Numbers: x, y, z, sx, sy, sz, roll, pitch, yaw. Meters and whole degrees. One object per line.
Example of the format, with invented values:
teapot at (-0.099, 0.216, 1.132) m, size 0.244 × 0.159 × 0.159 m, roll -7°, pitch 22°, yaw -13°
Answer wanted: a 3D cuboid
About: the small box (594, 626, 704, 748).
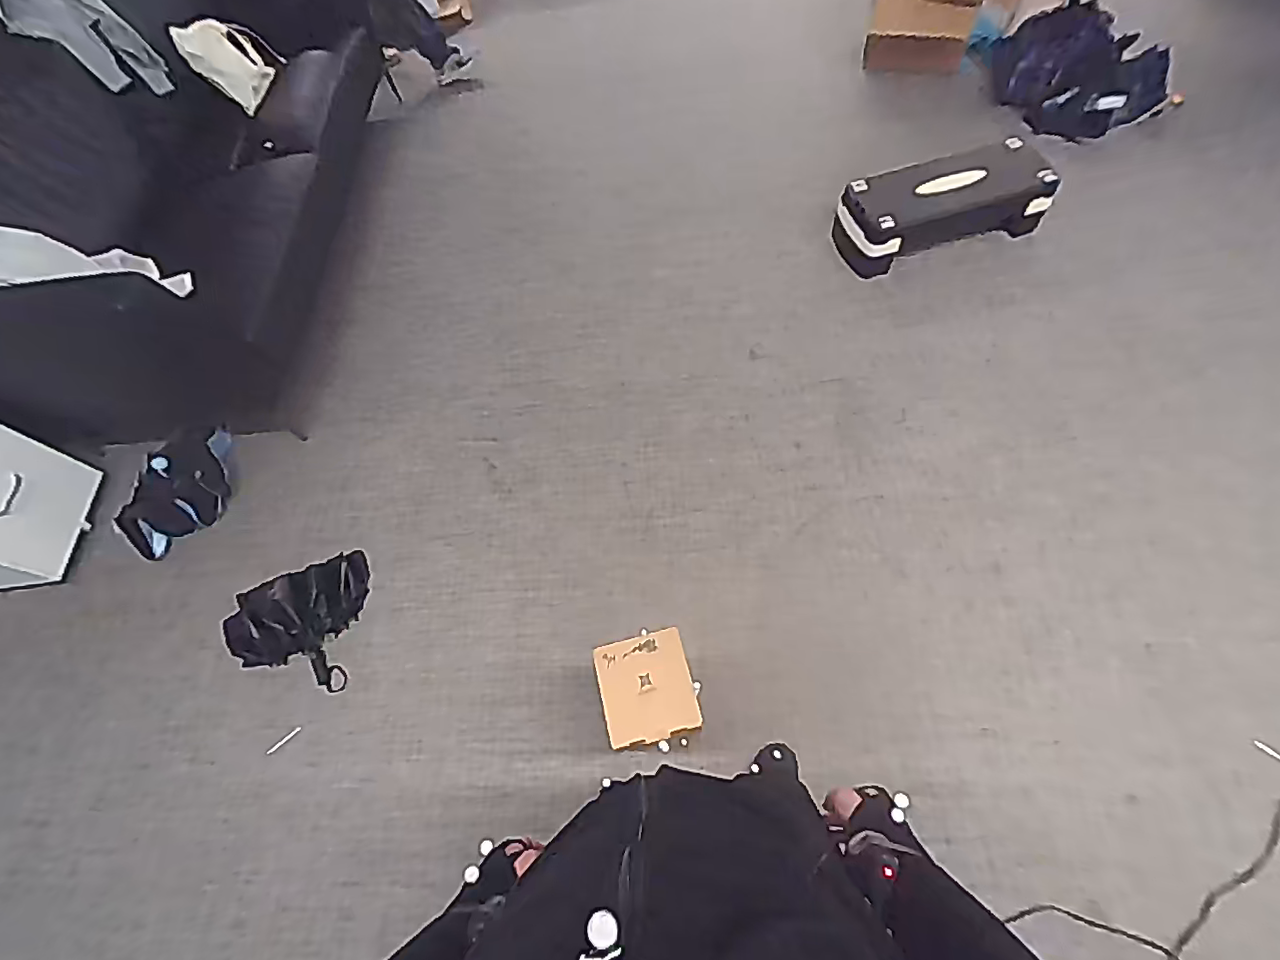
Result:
small box at (0.022, 0.396, 1.032) m, size 0.168 × 0.176 × 0.179 m, roll -15°, pitch 64°, yaw 0°
